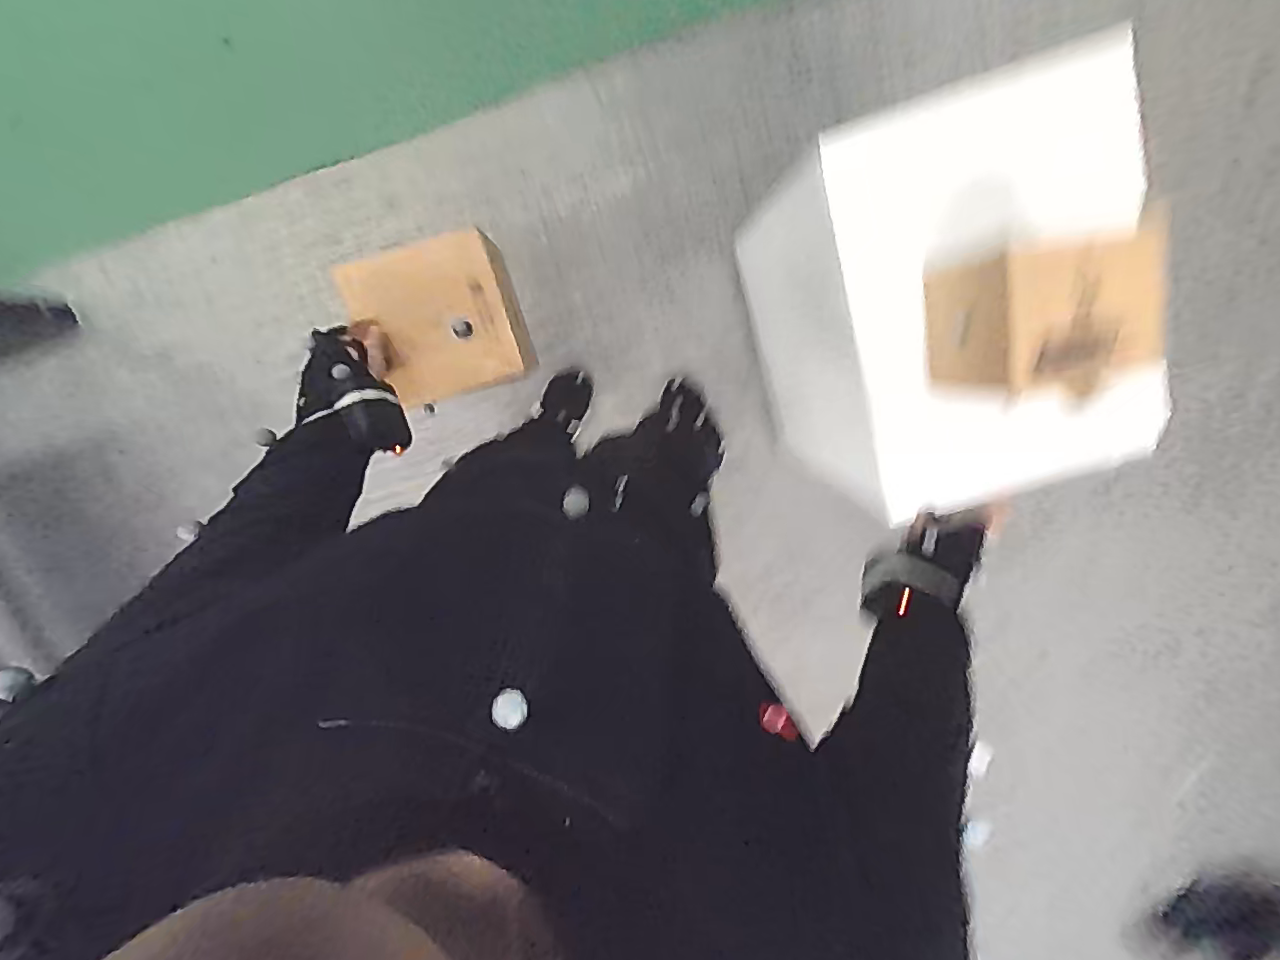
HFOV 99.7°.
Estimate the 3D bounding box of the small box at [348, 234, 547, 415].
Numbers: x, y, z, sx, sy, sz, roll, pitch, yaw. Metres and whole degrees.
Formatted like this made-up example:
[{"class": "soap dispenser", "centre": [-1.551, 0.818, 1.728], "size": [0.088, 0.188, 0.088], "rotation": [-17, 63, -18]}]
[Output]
[{"class": "small box", "centre": [-0.221, -0.192, 0.682], "size": [0.176, 0.179, 0.168], "rotation": [-17, 105, -1]}]
